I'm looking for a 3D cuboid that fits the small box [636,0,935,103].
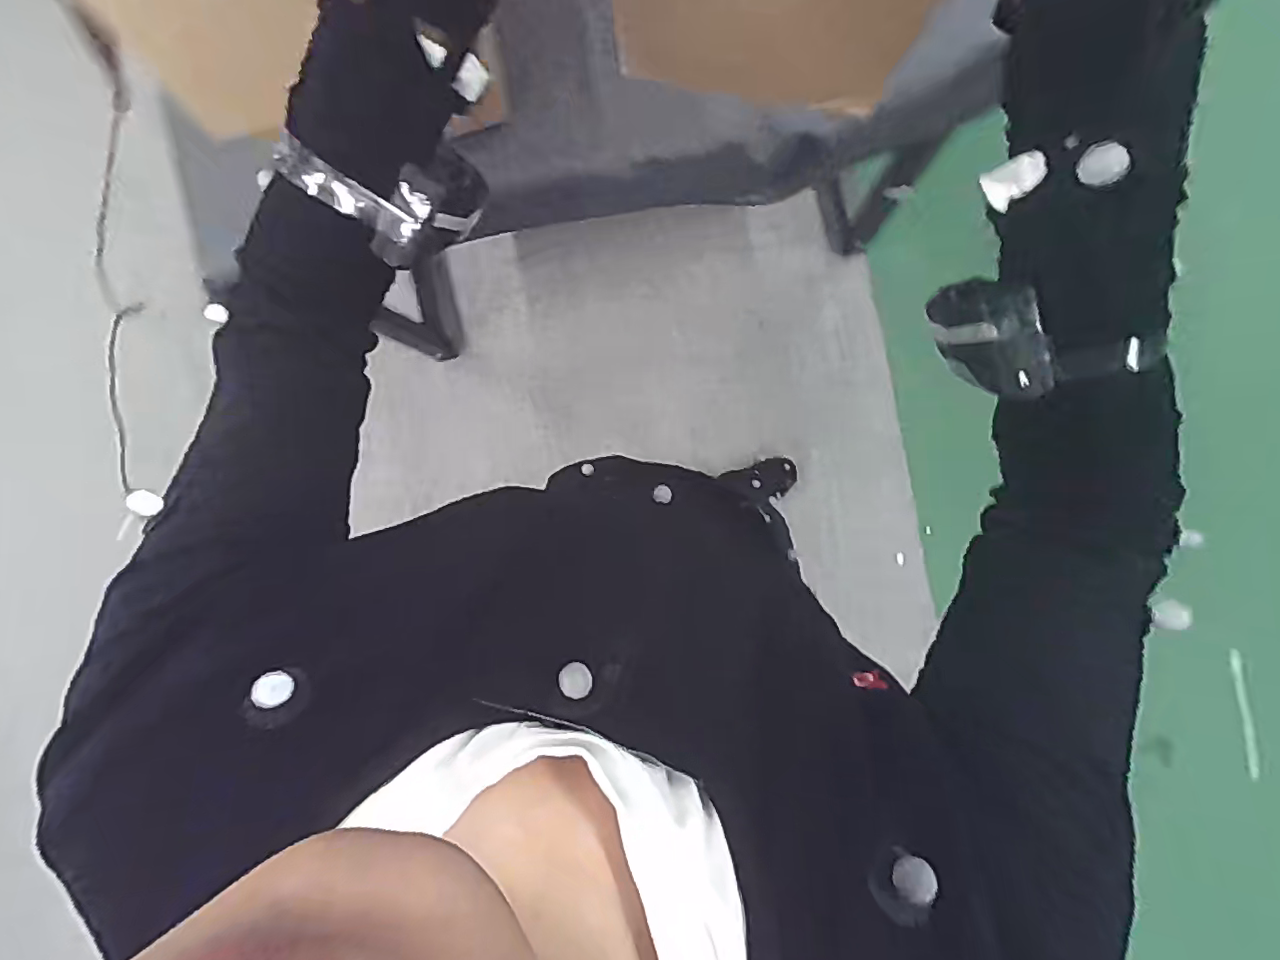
[{"bbox_3d":[0.094,-0.346,0.292,0.179,0.176,0.168,12,95,1],"label":"small box"}]
